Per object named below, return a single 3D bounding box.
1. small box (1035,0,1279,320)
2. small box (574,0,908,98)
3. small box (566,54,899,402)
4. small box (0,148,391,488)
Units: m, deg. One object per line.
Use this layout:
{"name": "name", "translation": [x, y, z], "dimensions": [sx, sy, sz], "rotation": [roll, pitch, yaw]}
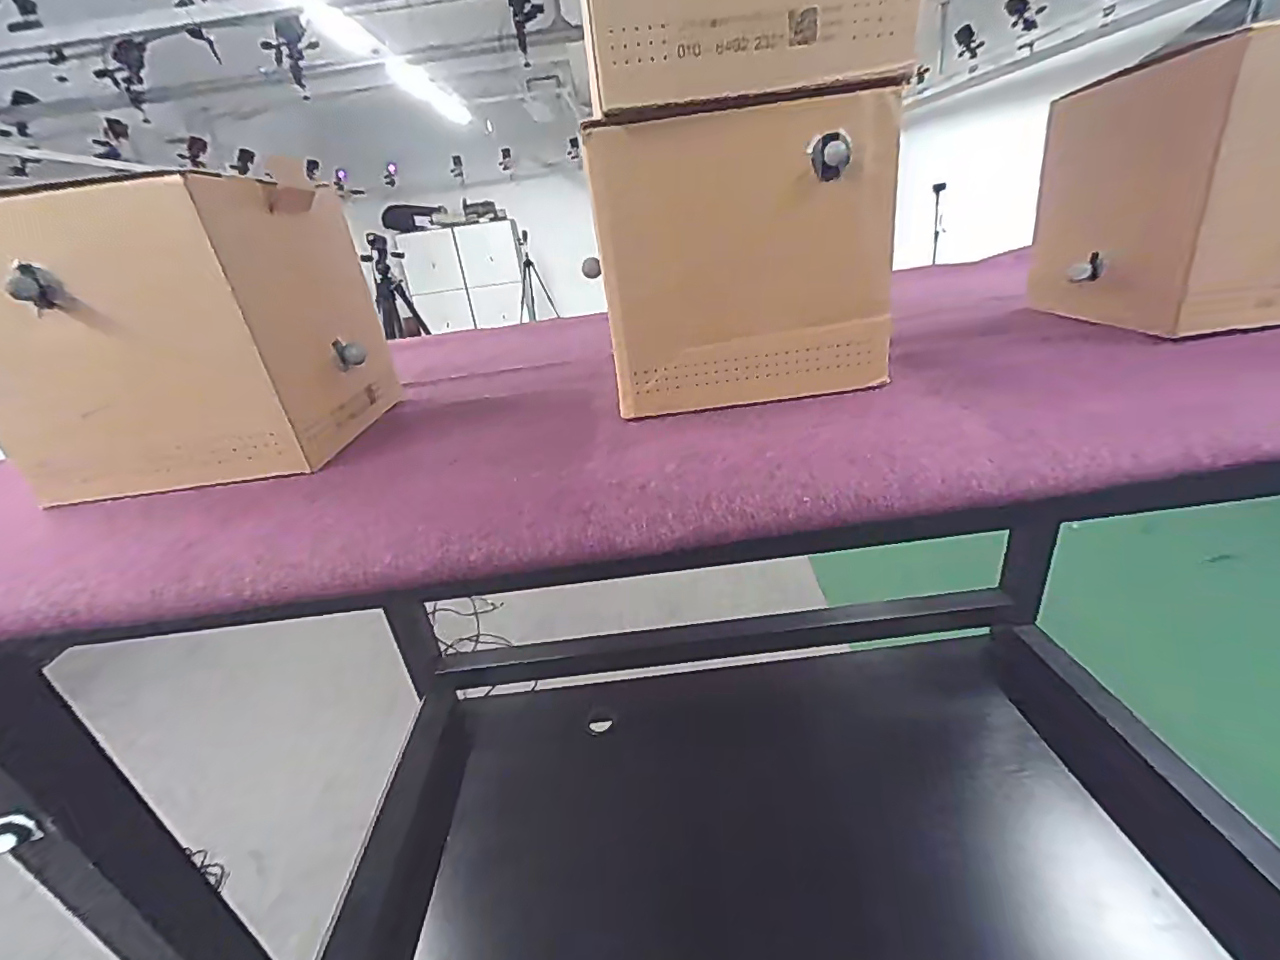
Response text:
{"name": "small box", "translation": [0.414, -0.212, 0.372], "dimensions": [0.168, 0.176, 0.179], "rotation": [-6, 24, 8]}
{"name": "small box", "translation": [0.042, -0.305, 0.310], "dimensions": [0.168, 0.176, 0.179], "rotation": [-7, 23, -2]}
{"name": "small box", "translation": [0.056, -0.158, 0.378], "dimensions": [0.179, 0.176, 0.168], "rotation": [-7, 24, 1]}
{"name": "small box", "translation": [-0.303, -0.105, 0.364], "dimensions": [0.179, 0.176, 0.168], "rotation": [-7, 27, 0]}
